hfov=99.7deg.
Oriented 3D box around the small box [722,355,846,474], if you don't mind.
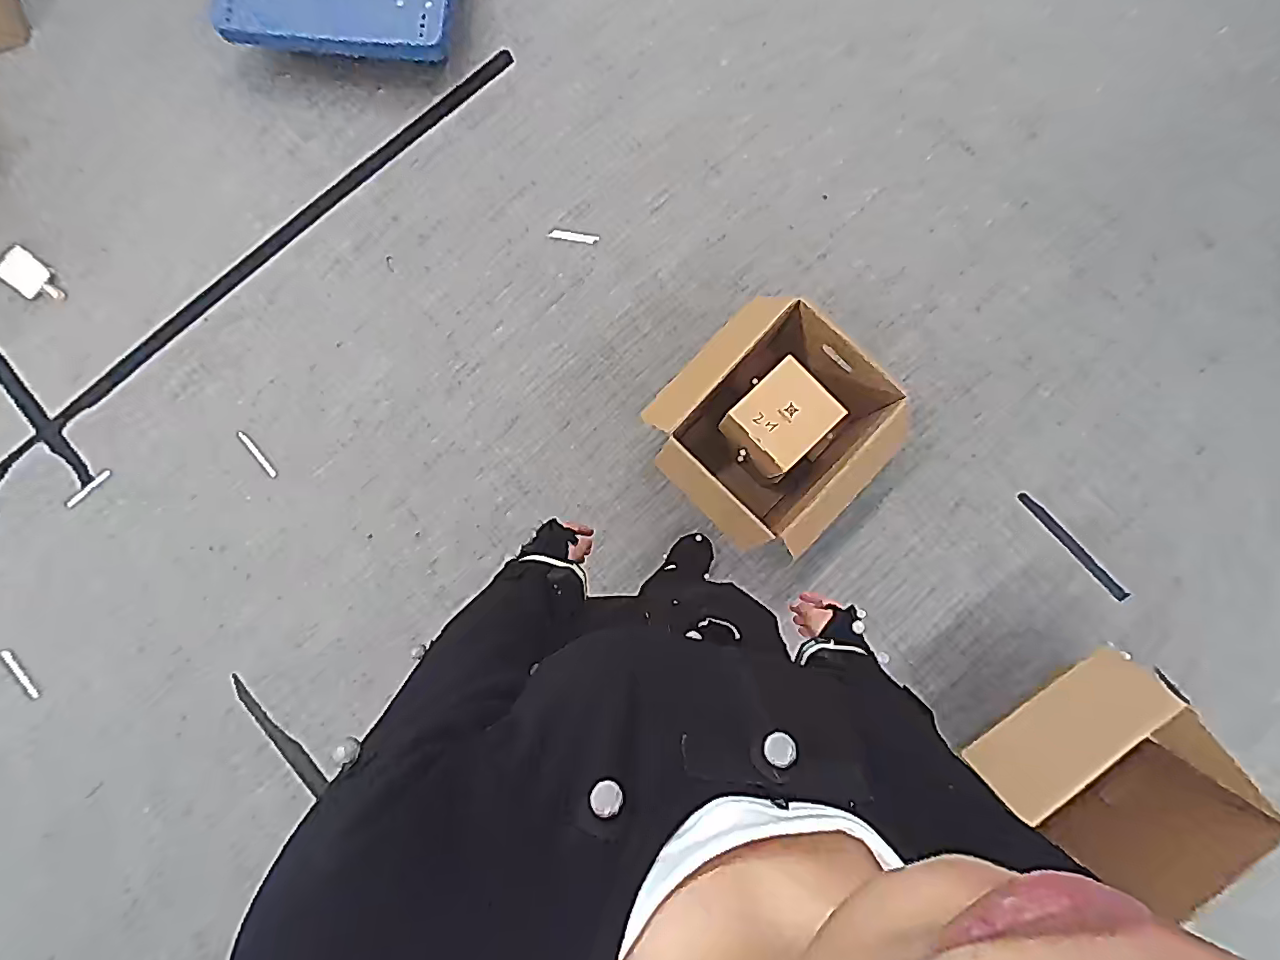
[{"bbox_3d":[0.294,-0.130,1.150,0.179,0.176,0.168,-43,86,-2],"label":"small box"}]
